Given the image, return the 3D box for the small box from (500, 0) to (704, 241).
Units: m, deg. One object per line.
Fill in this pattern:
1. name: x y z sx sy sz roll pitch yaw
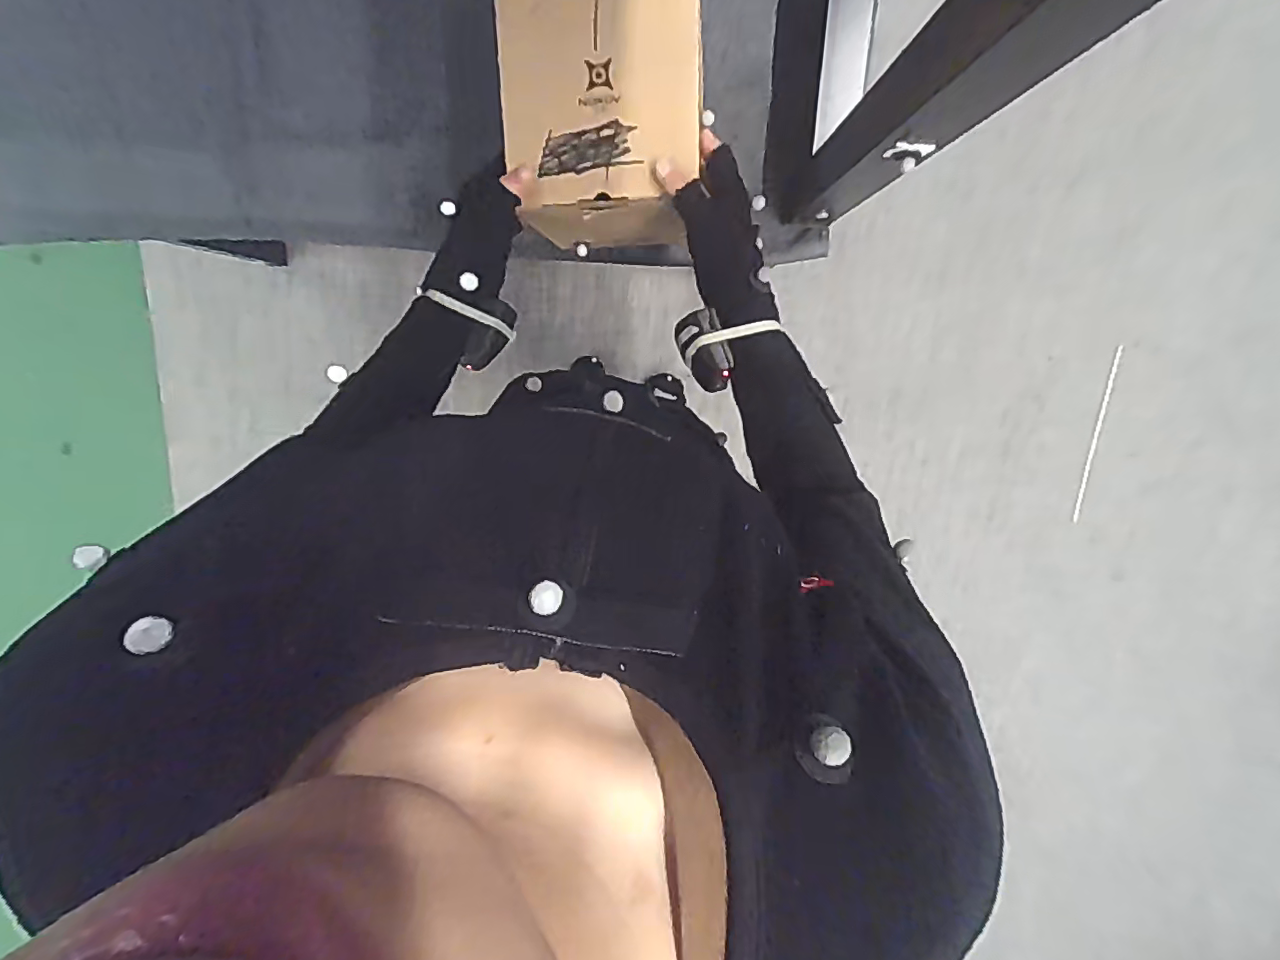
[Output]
1. small box: -0.023 -0.340 0.524 0.168 0.176 0.179 0 101 7
